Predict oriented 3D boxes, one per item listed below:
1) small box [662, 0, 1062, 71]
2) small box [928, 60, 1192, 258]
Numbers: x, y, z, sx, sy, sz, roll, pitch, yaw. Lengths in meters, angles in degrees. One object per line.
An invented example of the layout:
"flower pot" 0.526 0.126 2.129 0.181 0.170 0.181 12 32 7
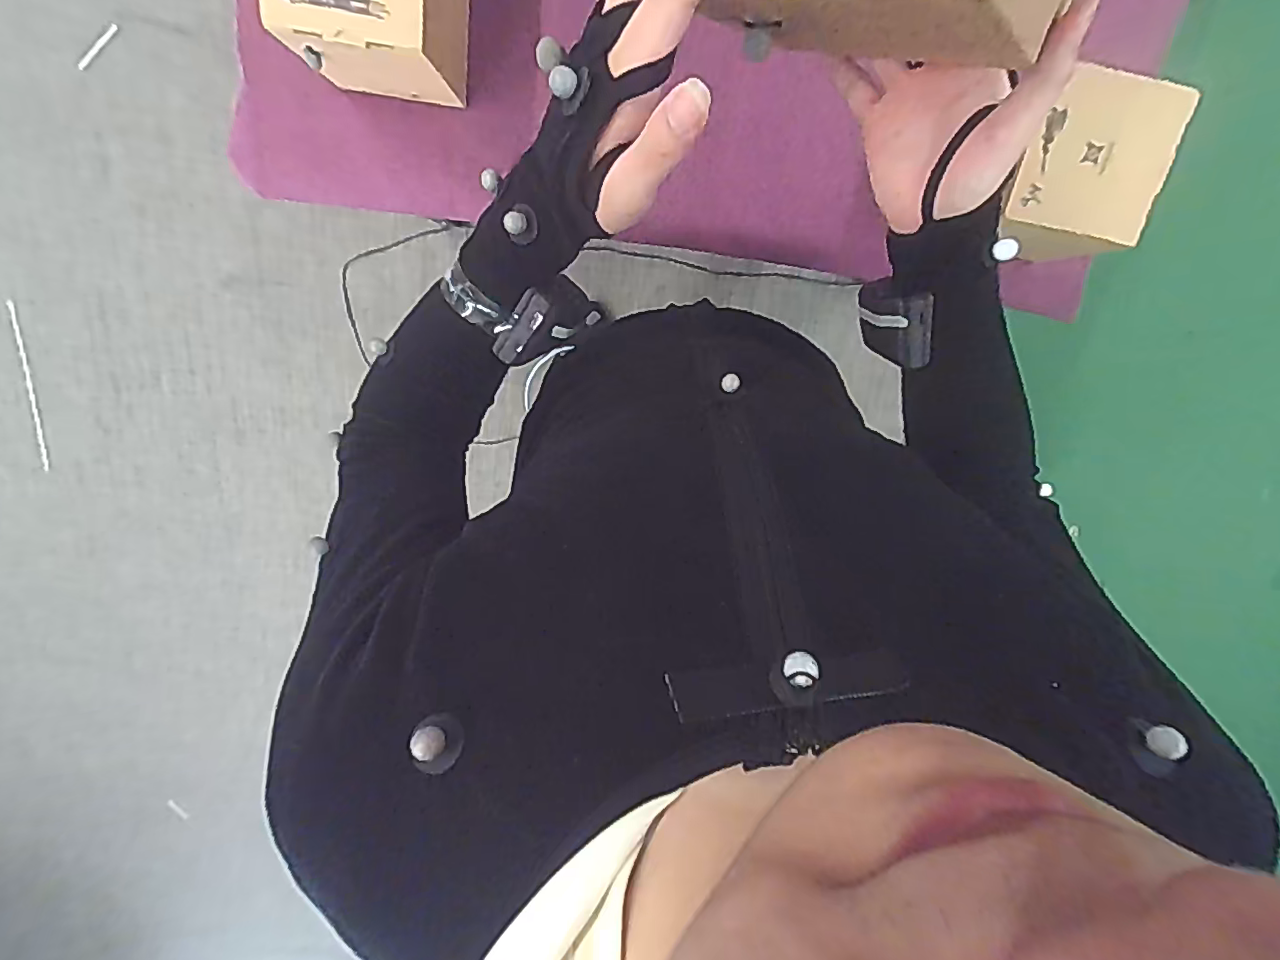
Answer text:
"small box" 0.120 -0.310 0.241 0.176 0.168 0.179 28 127 27
"small box" 0.520 -0.394 0.699 0.179 0.176 0.168 10 106 -5
